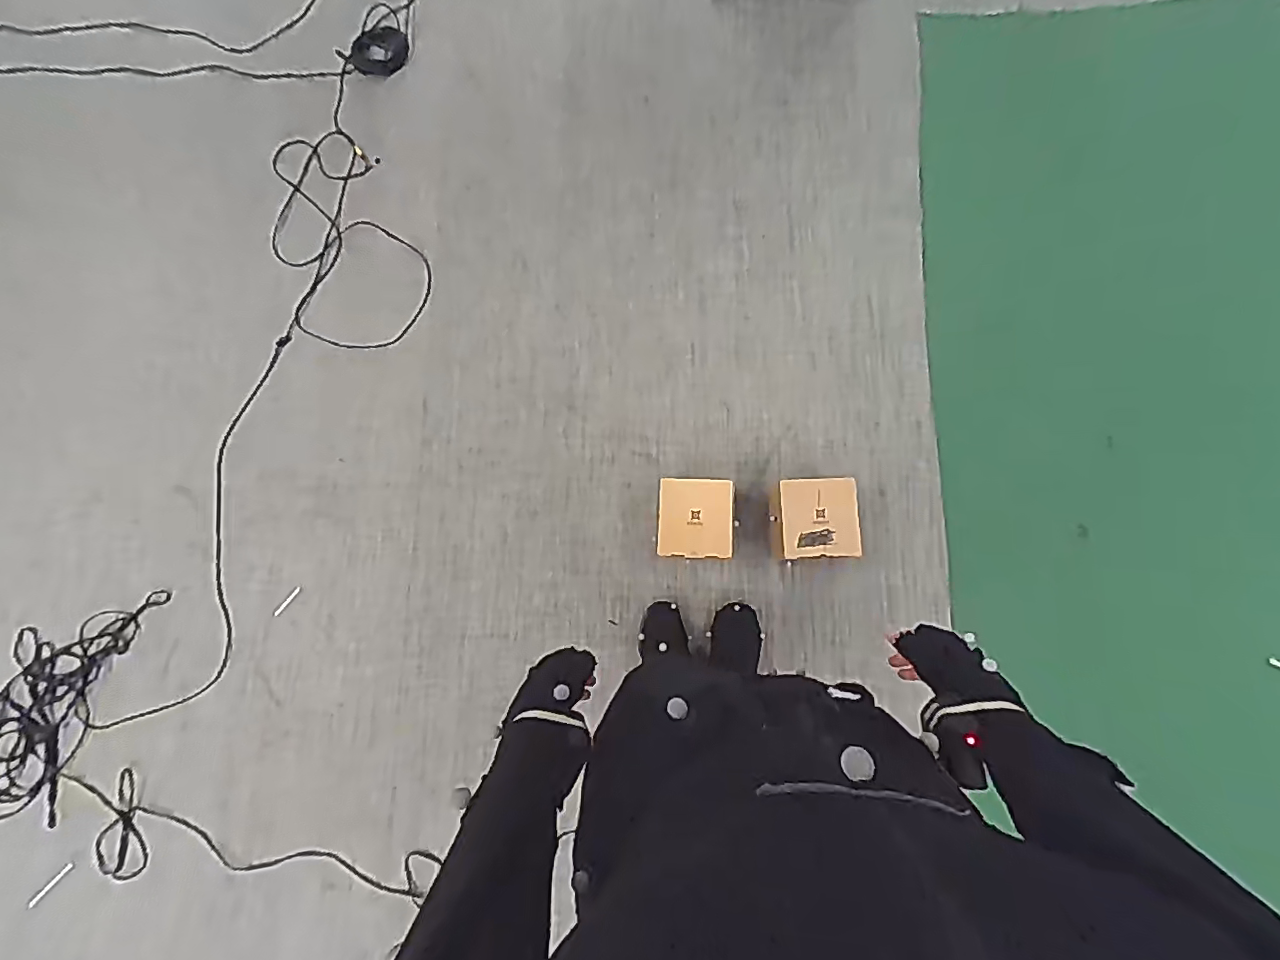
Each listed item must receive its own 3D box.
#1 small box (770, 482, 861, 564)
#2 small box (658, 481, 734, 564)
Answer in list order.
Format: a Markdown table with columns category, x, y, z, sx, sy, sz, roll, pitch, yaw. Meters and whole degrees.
| category | x | y | z | sx | sy | sz | roll | pitch | yaw |
| --- | --- | --- | --- | --- | --- | --- | --- | --- | --- |
| small box | 0.398 | 0.105 | 1.250 | 0.168 | 0.176 | 0.179 | -2 | 79 | 5 |
| small box | 0.130 | 0.104 | 1.276 | 0.168 | 0.176 | 0.179 | 1 | 80 | 5 |
